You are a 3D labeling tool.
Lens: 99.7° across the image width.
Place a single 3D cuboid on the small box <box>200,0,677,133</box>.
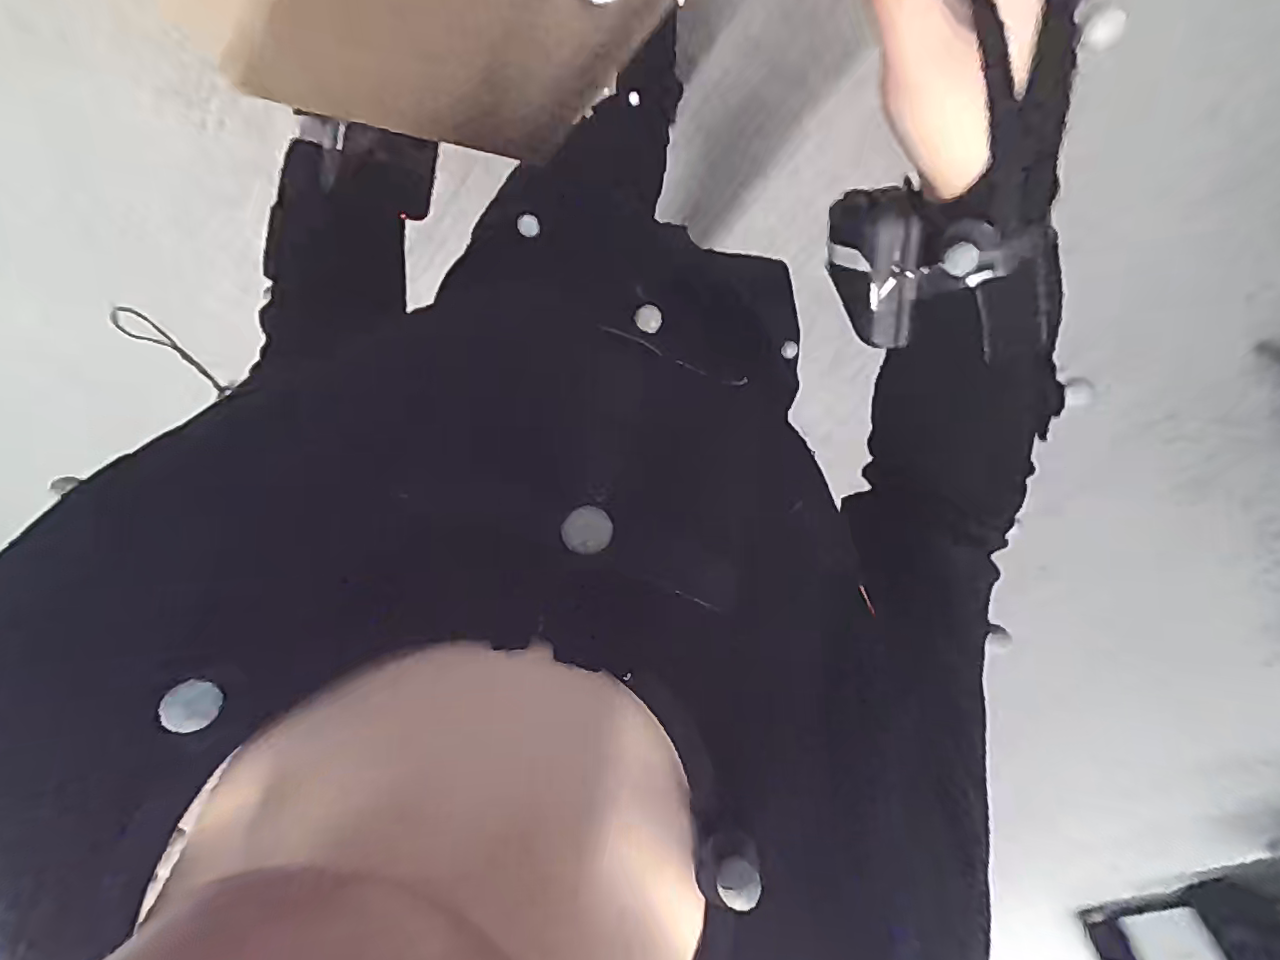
[{"bbox_3d":[-0.062,-0.243,0.166,0.168,0.176,0.179,-31,99,30],"label":"small box"}]
